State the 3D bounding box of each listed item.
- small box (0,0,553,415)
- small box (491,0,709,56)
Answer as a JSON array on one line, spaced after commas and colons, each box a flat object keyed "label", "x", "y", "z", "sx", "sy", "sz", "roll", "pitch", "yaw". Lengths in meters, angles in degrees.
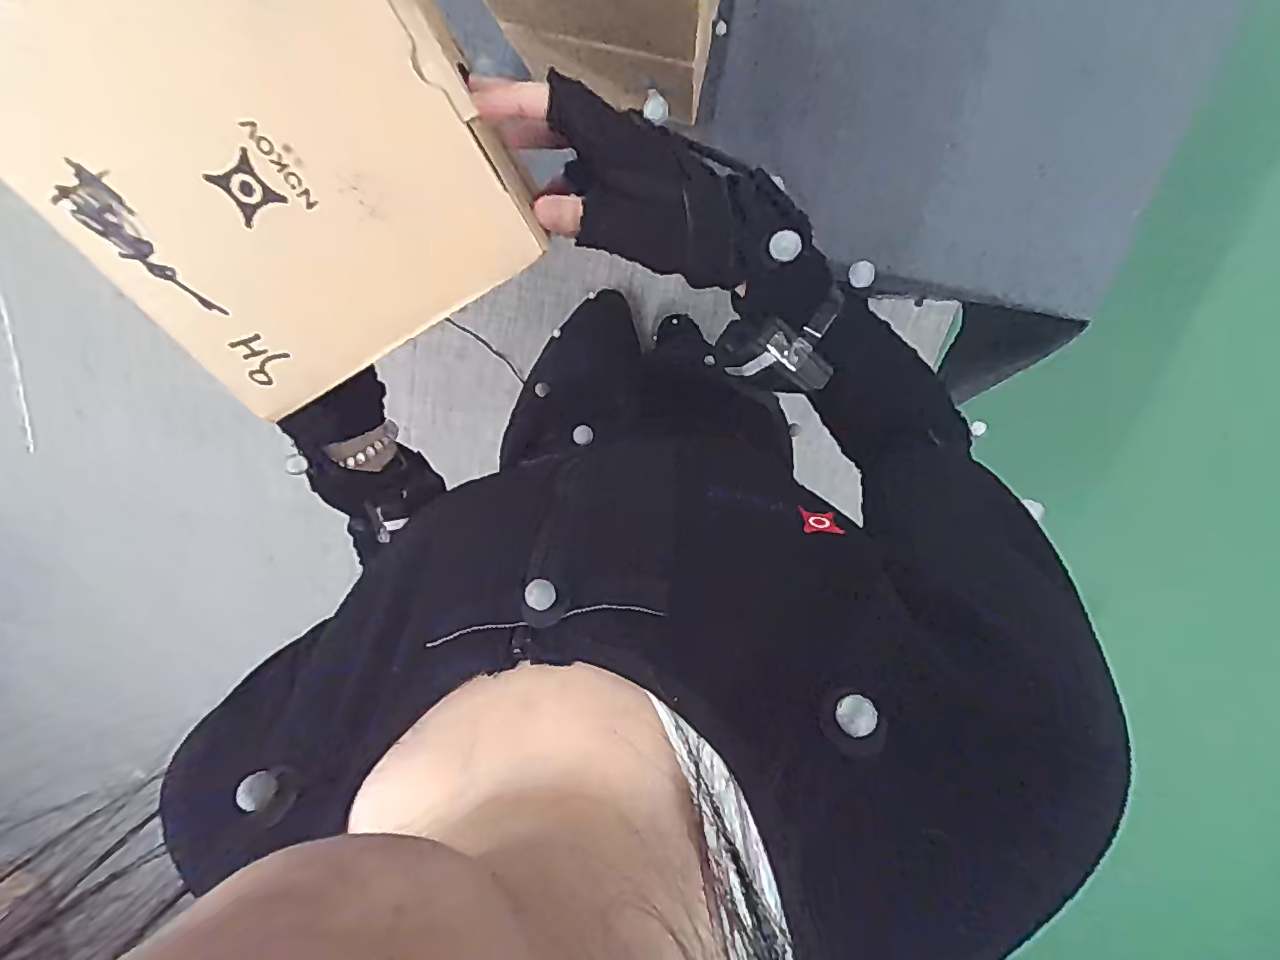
[{"label": "small box", "x": -0.165, "y": -0.171, "z": 0.297, "sx": 0.179, "sy": 0.176, "sz": 0.168, "roll": -27, "pitch": 121, "yaw": 8}, {"label": "small box", "x": -0.024, "y": -0.421, "z": 0.361, "sx": 0.179, "sy": 0.176, "sz": 0.168, "roll": 12, "pitch": 109, "yaw": 1}]
